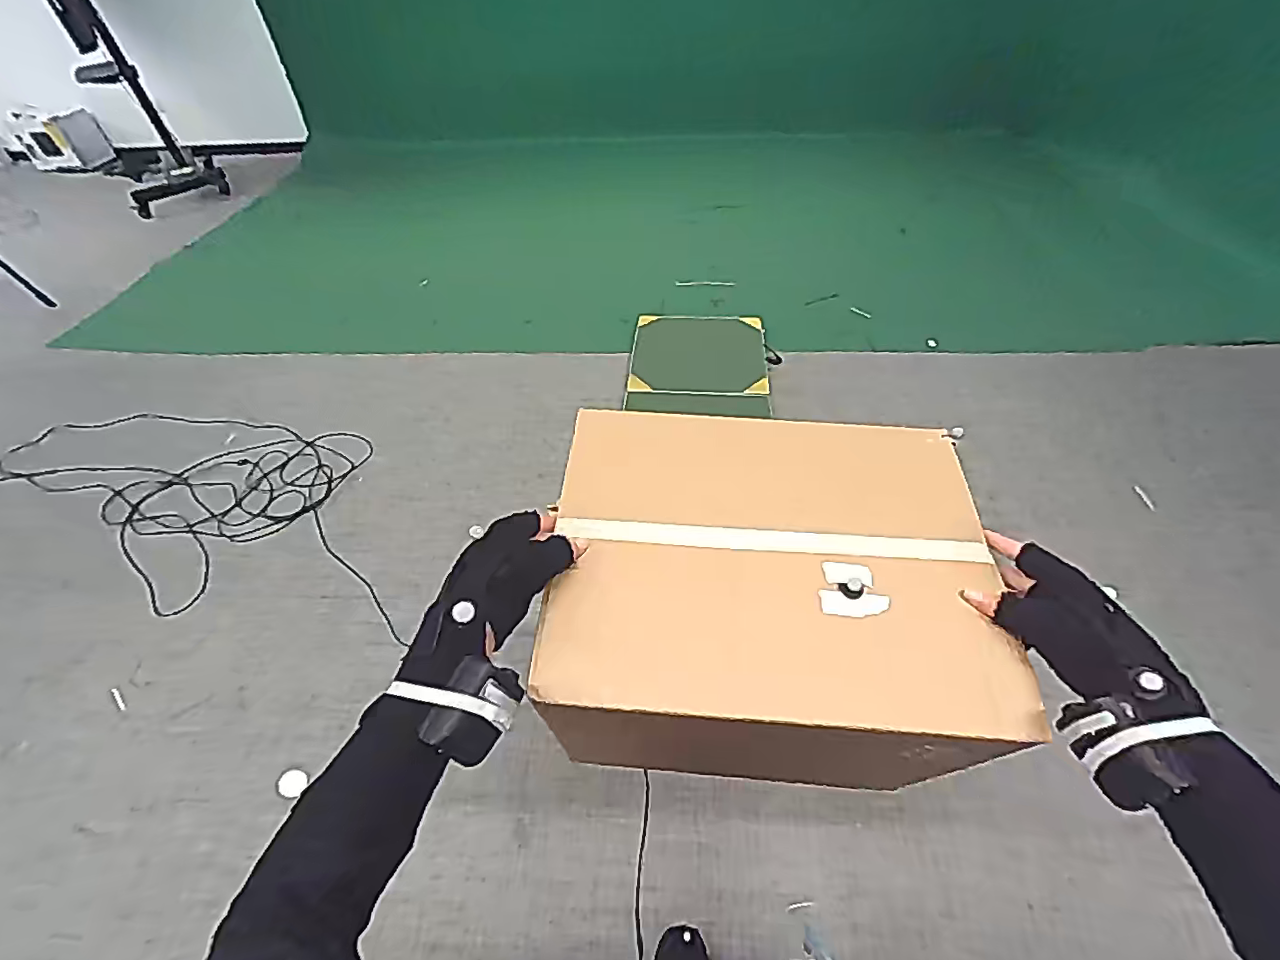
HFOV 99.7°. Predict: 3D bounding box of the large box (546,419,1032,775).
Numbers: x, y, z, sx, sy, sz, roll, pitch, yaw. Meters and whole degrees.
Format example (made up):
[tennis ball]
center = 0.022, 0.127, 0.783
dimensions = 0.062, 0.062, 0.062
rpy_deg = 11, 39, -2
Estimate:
[large box]
center = 0.123, 0.149, 0.642
dimensions = 0.408, 0.320, 0.320
rpy_deg = 3, 55, 1
